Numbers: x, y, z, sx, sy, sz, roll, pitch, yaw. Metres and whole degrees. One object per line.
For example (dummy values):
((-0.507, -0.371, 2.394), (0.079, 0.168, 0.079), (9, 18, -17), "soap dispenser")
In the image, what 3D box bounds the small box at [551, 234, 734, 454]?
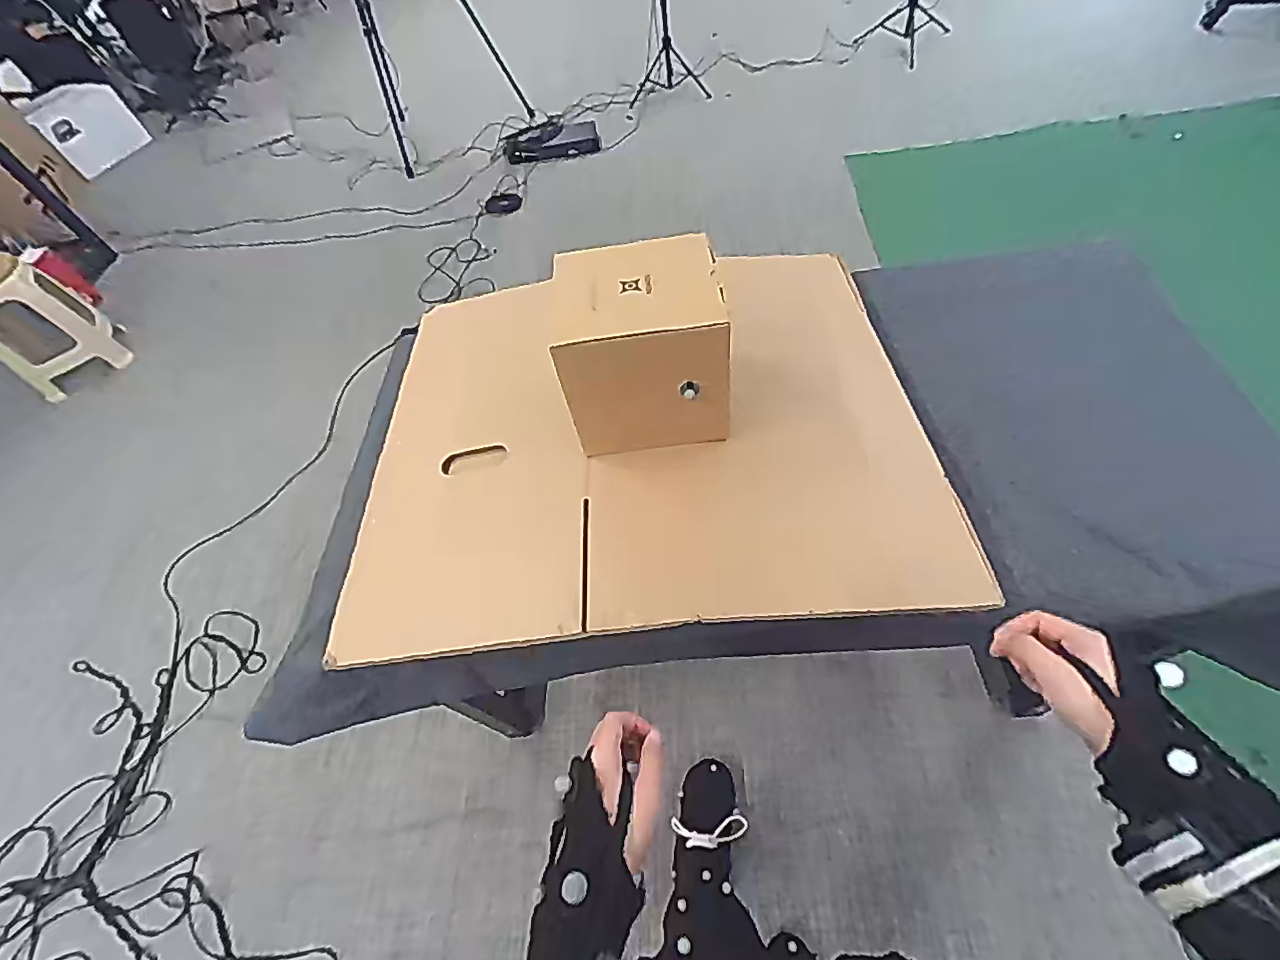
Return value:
((0.007, -0.149, 0.618), (0.179, 0.176, 0.168), (-8, 52, 4), "small box")
